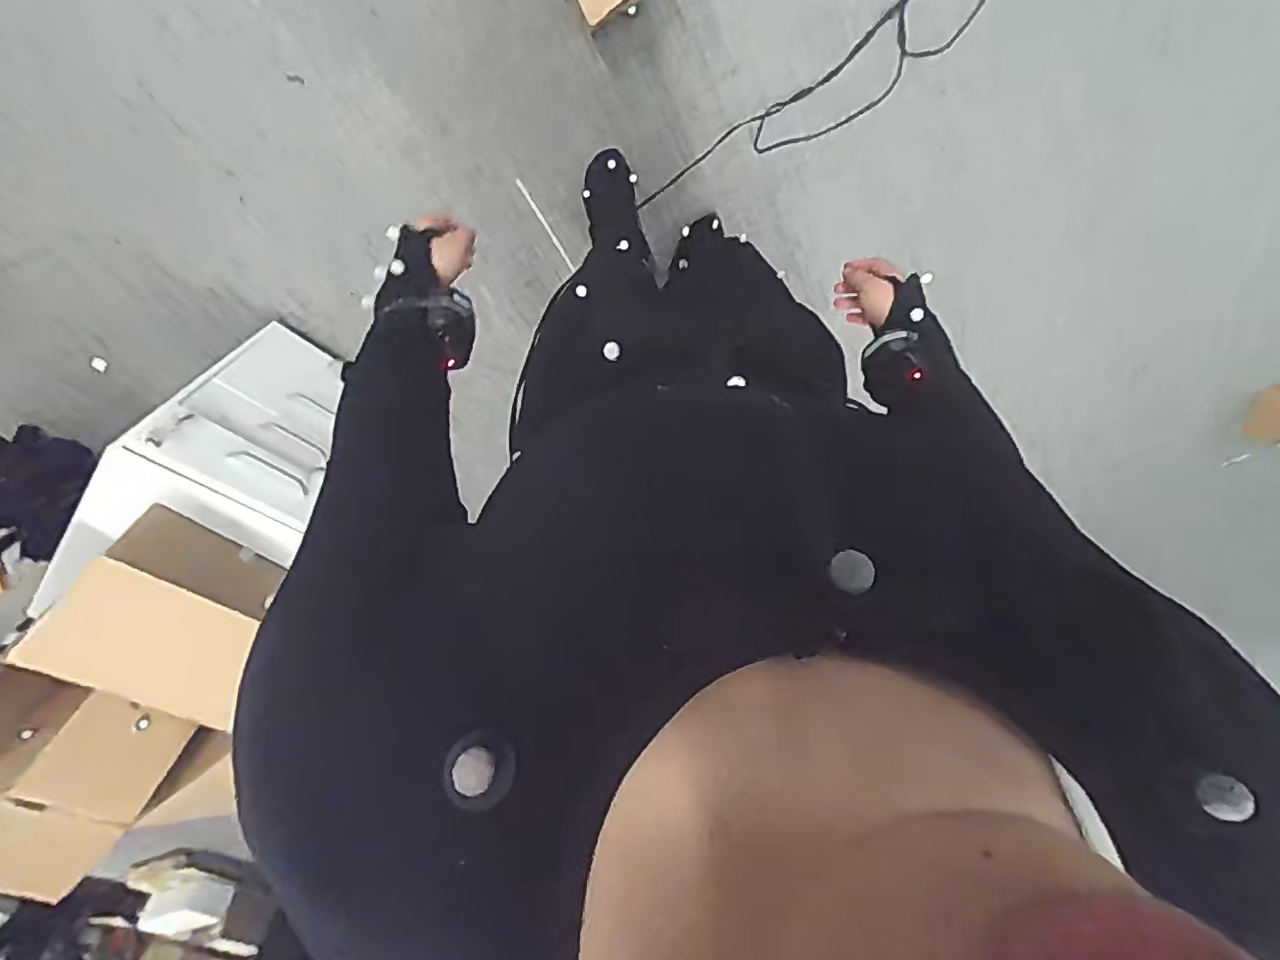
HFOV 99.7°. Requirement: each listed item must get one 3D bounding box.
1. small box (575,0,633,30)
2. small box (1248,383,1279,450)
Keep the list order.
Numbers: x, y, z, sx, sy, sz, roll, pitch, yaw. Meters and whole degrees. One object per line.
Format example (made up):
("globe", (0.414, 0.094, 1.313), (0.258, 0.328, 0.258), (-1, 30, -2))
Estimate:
("small box", (-0.060, -0.908, 0.912), (0.168, 0.176, 0.179), (-27, 125, 15))
("small box", (2.016, -0.196, 1.631), (0.168, 0.176, 0.179), (-21, 126, 10))
